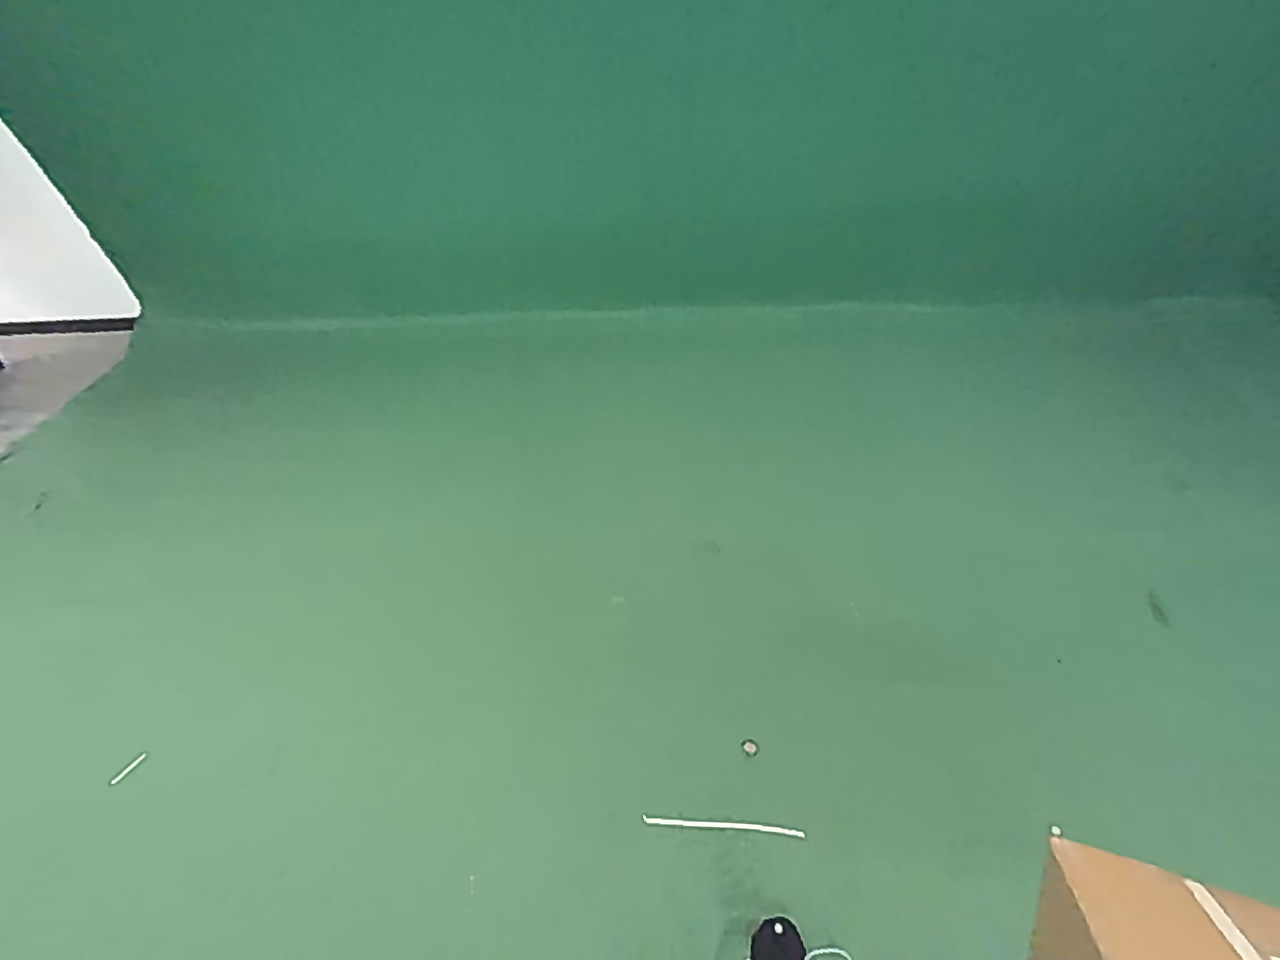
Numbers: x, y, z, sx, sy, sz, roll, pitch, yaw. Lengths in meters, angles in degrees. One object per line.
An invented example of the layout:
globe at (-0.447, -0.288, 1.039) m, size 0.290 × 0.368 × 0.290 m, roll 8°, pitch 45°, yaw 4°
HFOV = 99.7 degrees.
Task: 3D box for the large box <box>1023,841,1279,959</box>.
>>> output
large box at (0.626, 0.692, 0.552) m, size 0.320 × 0.320 × 0.408 m, roll 10°, pitch 4°, yaw 23°
